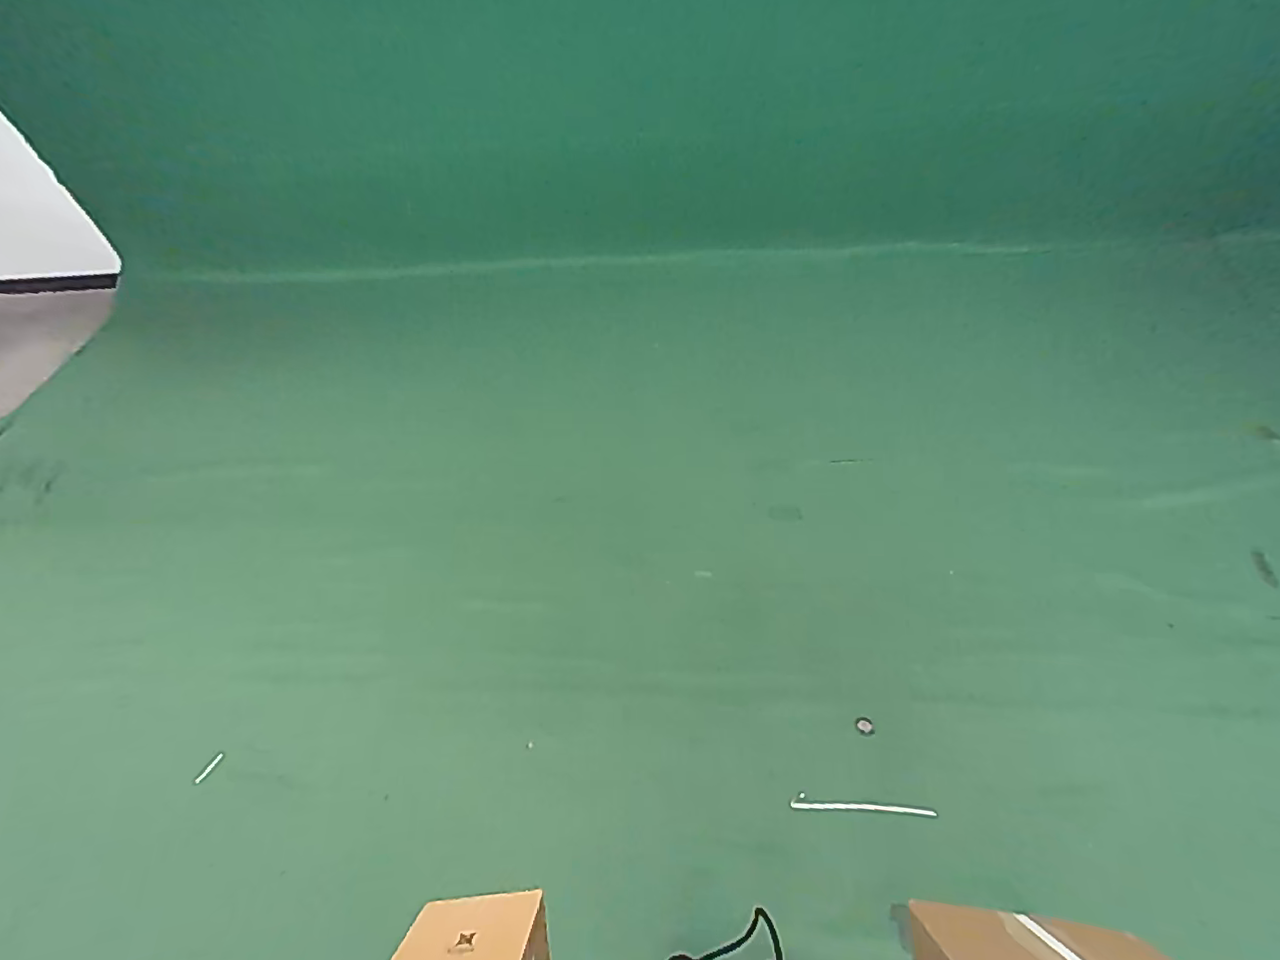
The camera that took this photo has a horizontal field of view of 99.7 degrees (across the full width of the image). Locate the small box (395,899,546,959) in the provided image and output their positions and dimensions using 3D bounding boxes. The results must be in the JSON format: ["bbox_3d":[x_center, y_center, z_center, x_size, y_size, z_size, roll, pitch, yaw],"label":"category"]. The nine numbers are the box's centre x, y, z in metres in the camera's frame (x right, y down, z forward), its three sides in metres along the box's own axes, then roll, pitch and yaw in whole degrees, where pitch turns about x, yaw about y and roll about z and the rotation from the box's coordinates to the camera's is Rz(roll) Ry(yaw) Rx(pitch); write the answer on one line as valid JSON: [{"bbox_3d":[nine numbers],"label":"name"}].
[{"bbox_3d":[-0.208,0.656,0.652,0.168,0.179,0.176,-7,83,0],"label":"small box"}]
